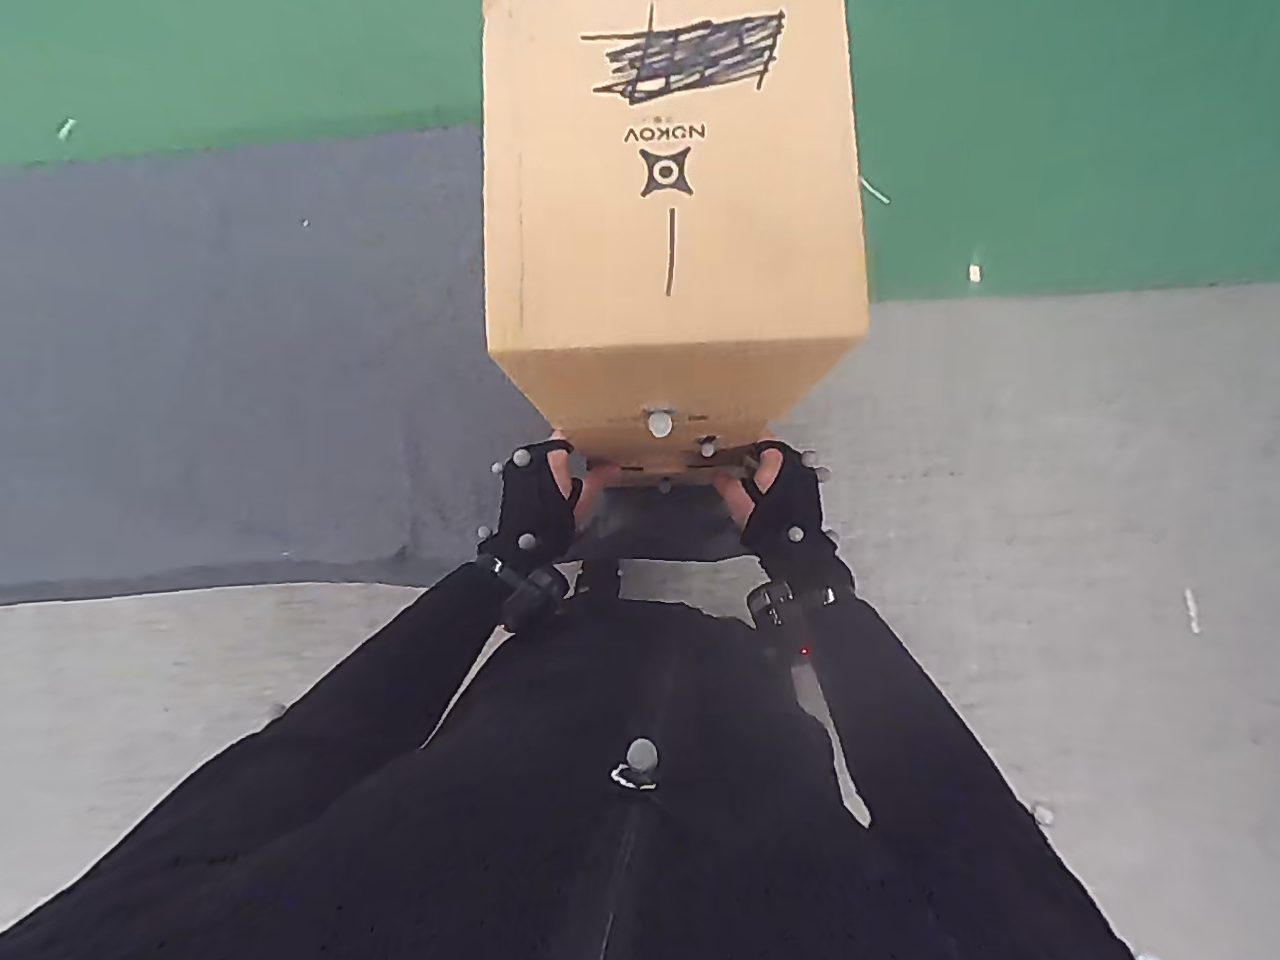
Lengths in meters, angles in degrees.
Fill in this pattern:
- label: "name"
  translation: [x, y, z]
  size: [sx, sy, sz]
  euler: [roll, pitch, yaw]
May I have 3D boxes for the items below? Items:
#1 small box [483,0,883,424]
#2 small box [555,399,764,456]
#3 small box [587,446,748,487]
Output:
- label: "small box"
  translation: [0.017, -0.138, 0.310]
  size: [0.168, 0.176, 0.179]
  euler: [-2, 83, 2]
- label: "small box"
  translation: [0.021, -0.119, 0.474]
  size: [0.168, 0.176, 0.179]
  euler: [-3, 81, 1]
- label: "small box"
  translation: [0.031, -0.084, 0.633]
  size: [0.168, 0.176, 0.179]
  euler: [-2, 83, 2]
